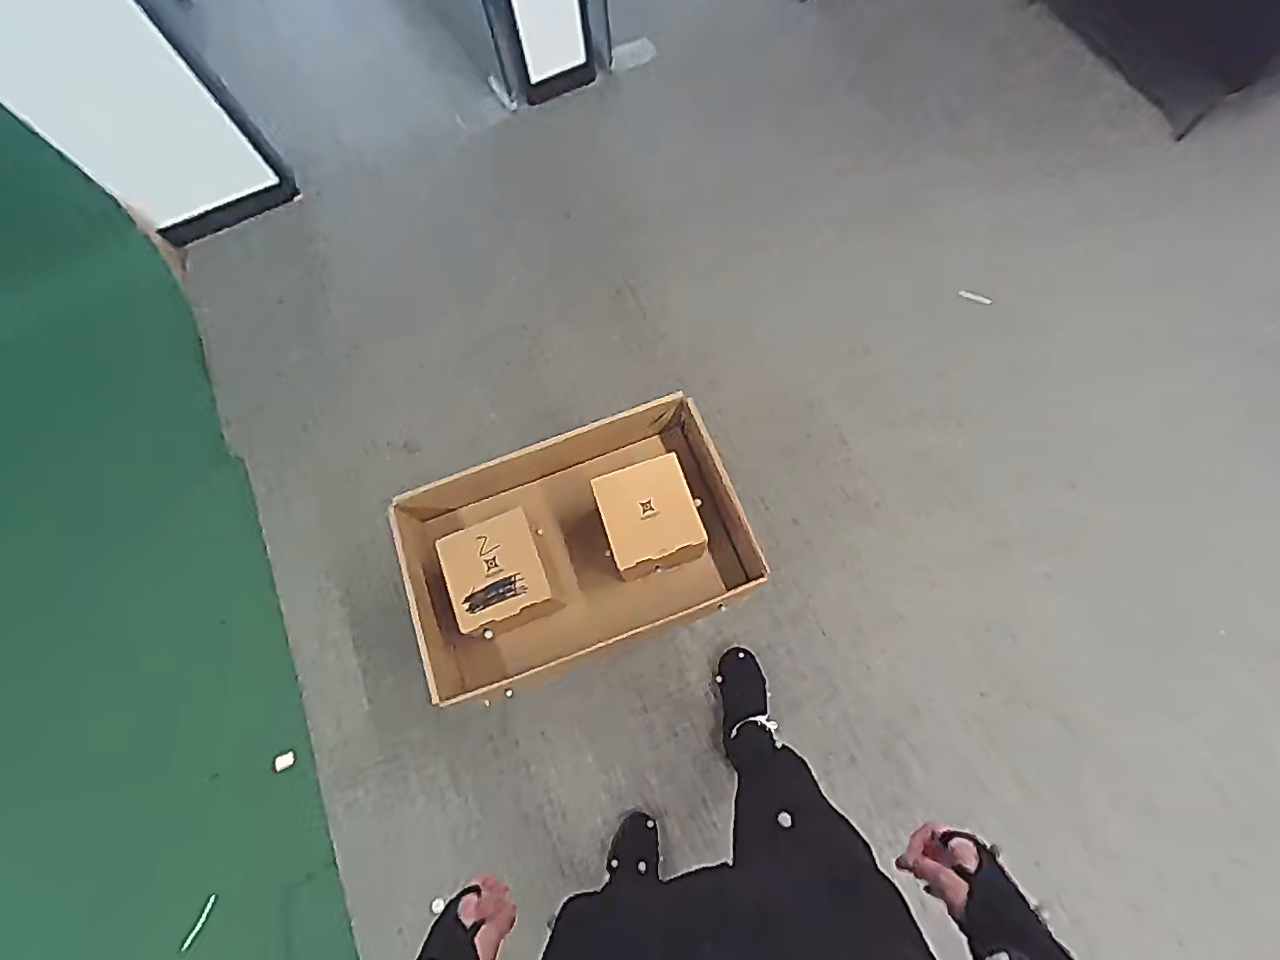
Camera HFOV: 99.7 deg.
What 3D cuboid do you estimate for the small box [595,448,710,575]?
[{"bbox_3d":[0.021,0.067,1.031,0.168,0.176,0.179,-18,73,-3],"label":"small box"}]
